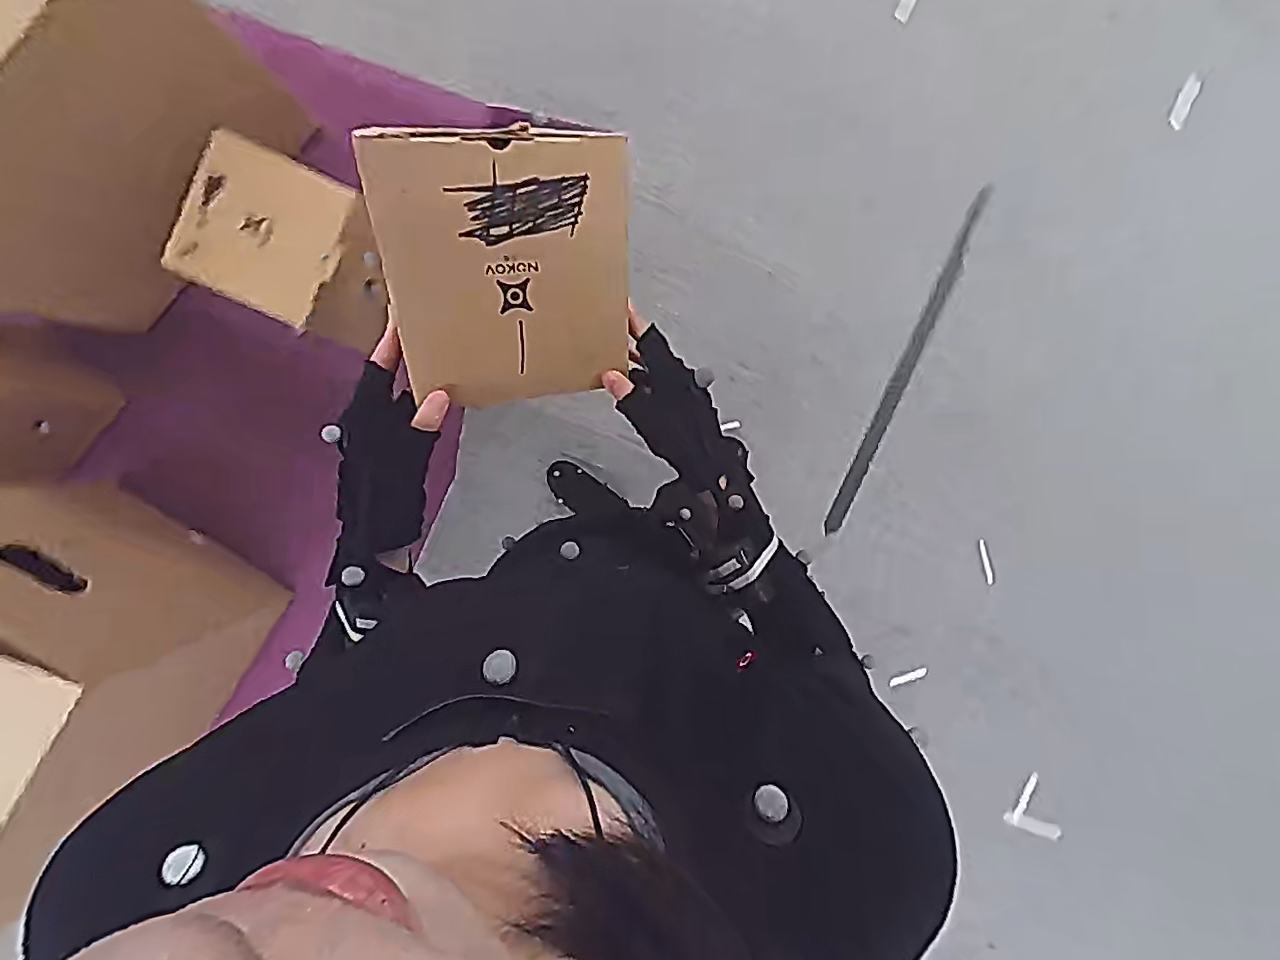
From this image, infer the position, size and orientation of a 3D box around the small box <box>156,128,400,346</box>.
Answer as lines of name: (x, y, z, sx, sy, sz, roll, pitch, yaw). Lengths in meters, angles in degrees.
small box: (-0.426, -0.282, 0.677, 0.179, 0.176, 0.168, 25, 93, -2)

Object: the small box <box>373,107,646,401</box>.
small box: (-0.101, -0.181, 0.427, 0.168, 0.176, 0.179, -9, 124, -16)
